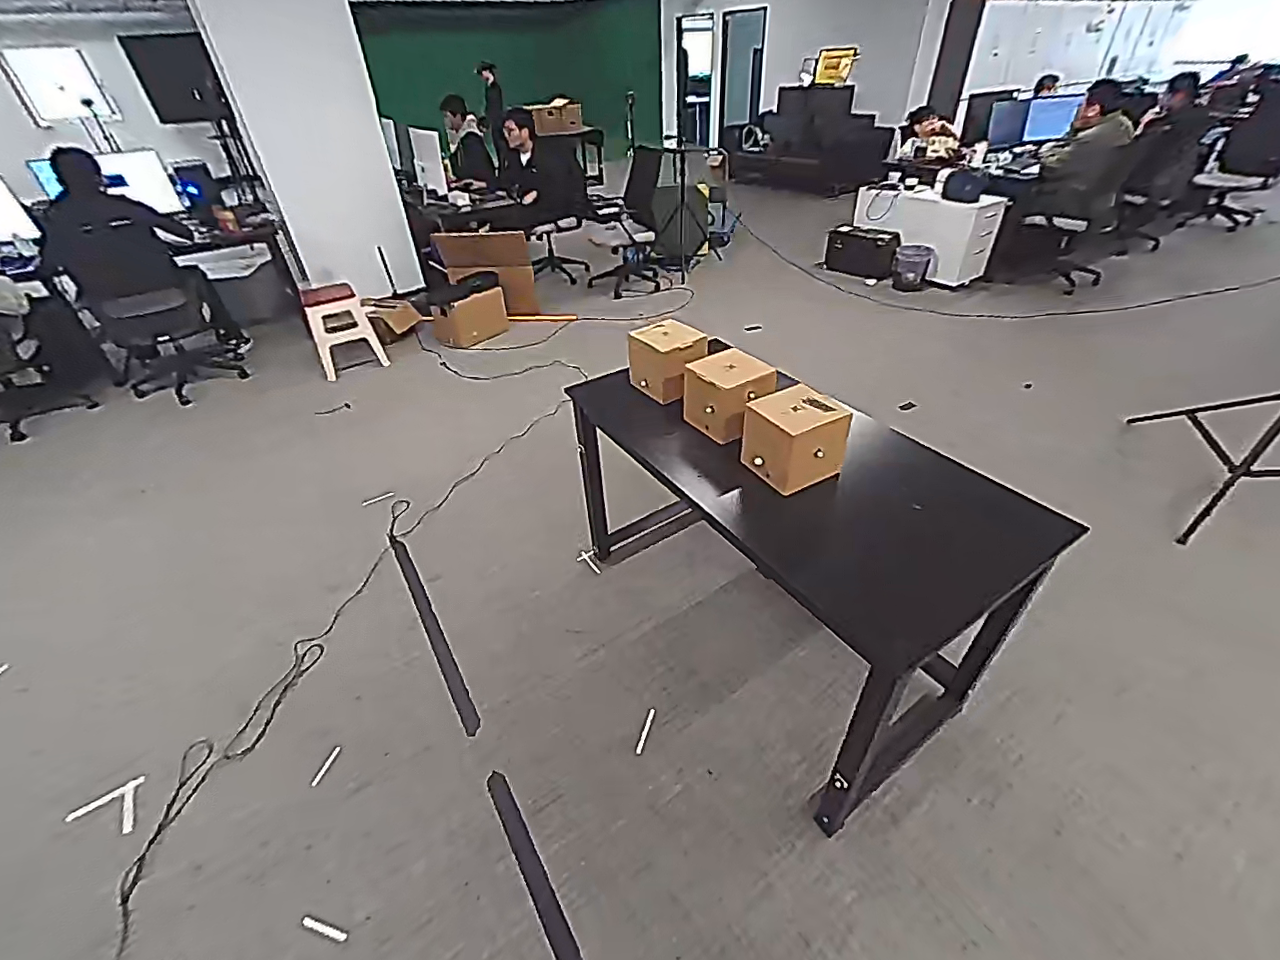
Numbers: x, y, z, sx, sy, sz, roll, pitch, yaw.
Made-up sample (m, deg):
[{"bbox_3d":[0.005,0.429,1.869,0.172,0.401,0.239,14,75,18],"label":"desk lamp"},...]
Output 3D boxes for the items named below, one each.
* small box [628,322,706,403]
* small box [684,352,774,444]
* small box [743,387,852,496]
[{"bbox_3d":[0.080,-0.347,1.615,0.168,0.176,0.179,-25,44,-26],"label":"small box"},{"bbox_3d":[0.233,-0.219,1.445,0.179,0.176,0.168,-23,43,-26],"label":"small box"},{"bbox_3d":[0.360,-0.092,1.271,0.179,0.176,0.168,-21,42,-21],"label":"small box"}]
